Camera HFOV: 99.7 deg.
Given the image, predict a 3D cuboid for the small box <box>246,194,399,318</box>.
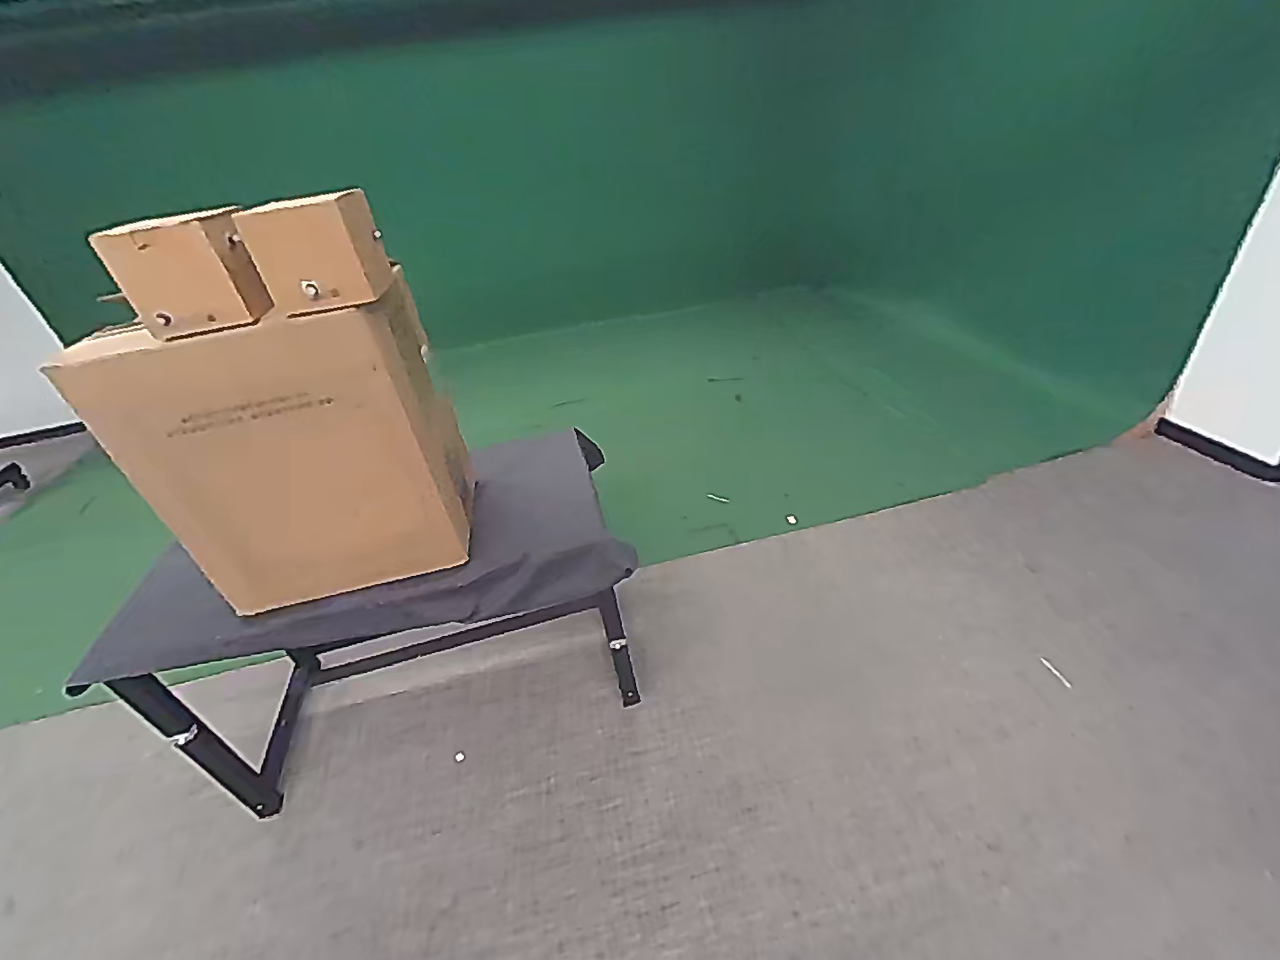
[{"bbox_3d":[-0.562,-0.411,0.989,0.168,0.176,0.179,-12,35,-5],"label":"small box"}]
